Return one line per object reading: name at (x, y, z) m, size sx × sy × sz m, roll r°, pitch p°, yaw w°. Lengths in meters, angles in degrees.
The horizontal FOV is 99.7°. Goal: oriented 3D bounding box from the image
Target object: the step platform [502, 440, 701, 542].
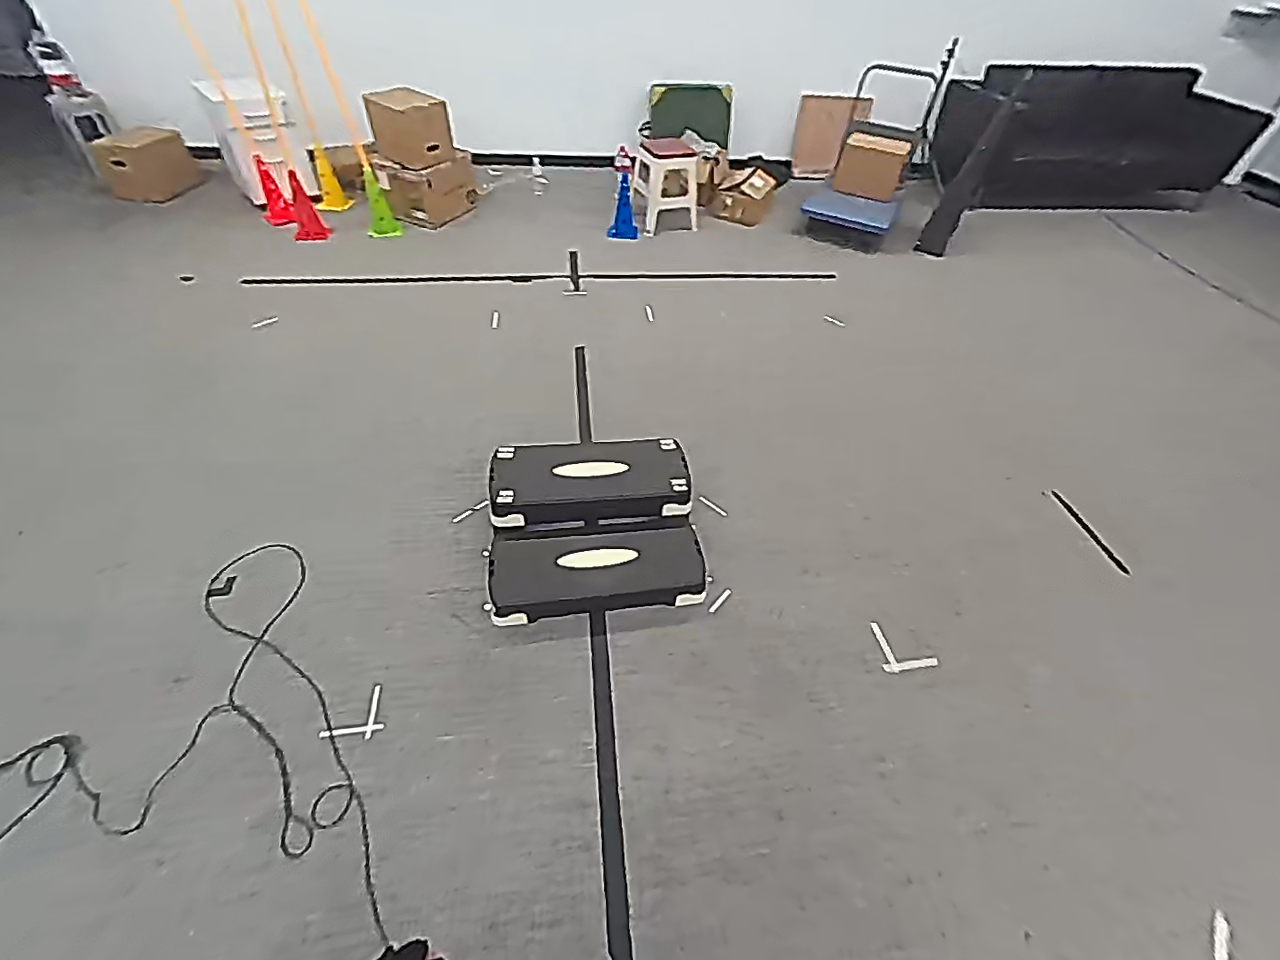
step platform at (-0.131, 0.026, 1.887) m, size 0.684 × 0.204 × 0.286 m, roll -3°, pitch 47°, yaw -9°
